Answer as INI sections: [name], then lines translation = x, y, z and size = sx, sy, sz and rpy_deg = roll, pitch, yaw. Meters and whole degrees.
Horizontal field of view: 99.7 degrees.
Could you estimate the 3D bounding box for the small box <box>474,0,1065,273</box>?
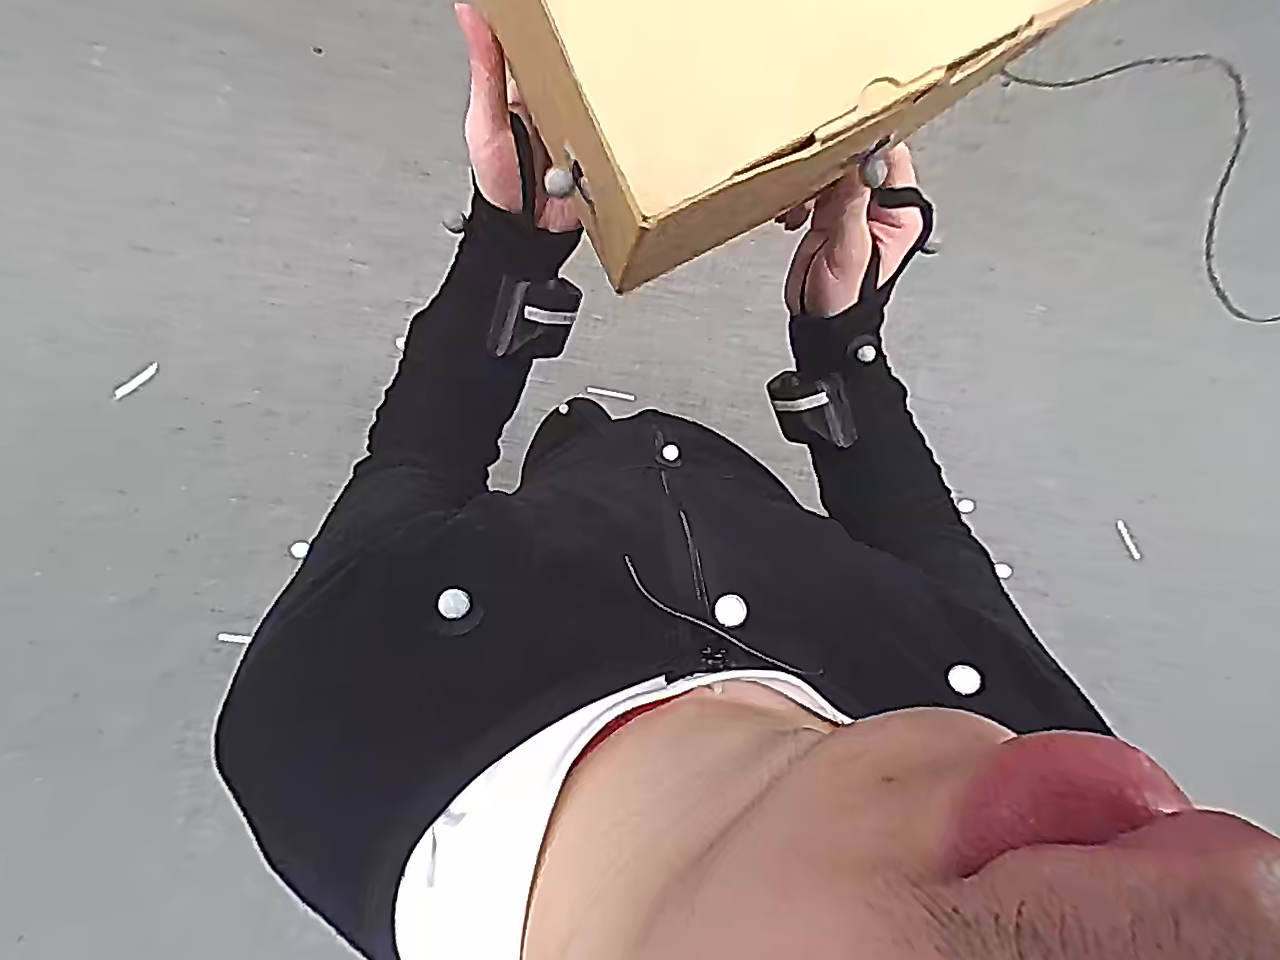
[small box]
translation = 0.026, -0.211, 0.238
size = 0.168, 0.176, 0.179
rpy_deg = -29, 101, 0
